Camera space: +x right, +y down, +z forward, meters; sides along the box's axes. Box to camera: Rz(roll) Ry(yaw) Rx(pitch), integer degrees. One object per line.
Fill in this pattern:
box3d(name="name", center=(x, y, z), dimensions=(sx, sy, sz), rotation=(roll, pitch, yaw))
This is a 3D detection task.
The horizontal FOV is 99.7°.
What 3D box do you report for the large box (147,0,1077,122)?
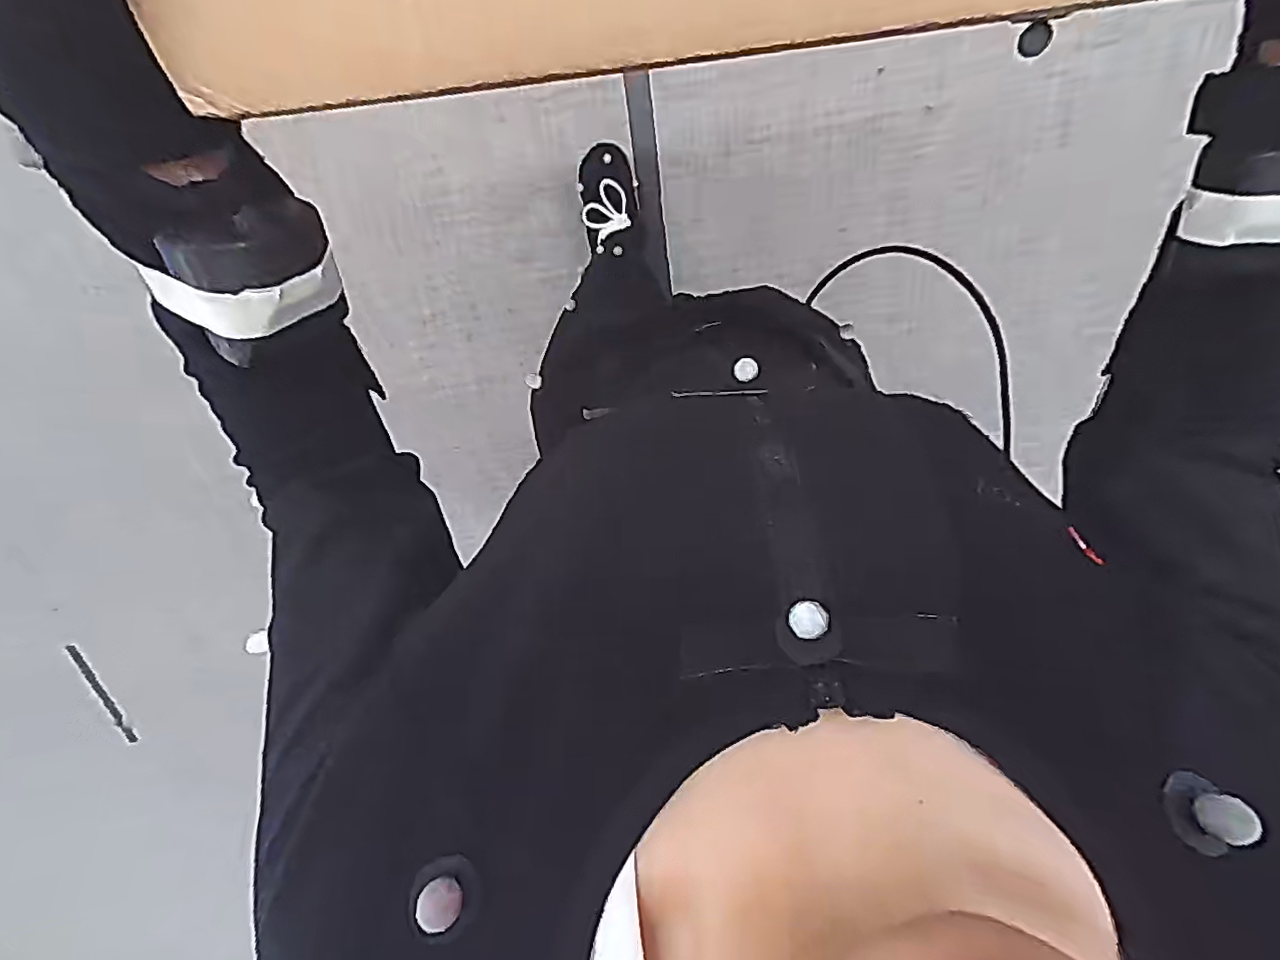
box3d(name="large box", center=(0.012, -0.369, 0.211), dimensions=(0.408, 0.320, 0.320), rotation=(-7, 129, 1))
